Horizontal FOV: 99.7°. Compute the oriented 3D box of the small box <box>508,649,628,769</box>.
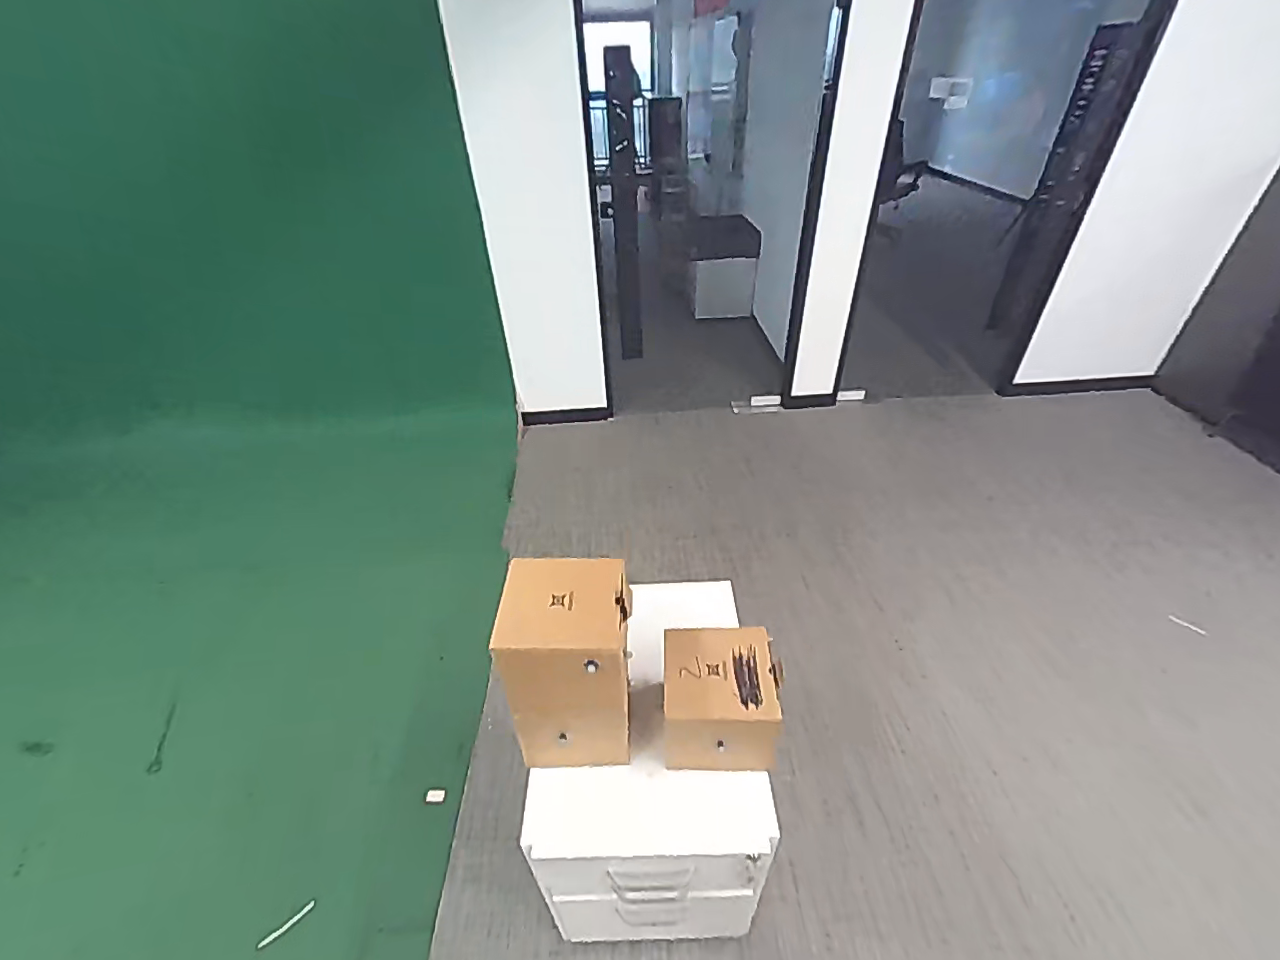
[{"bbox_3d":[-0.111,0.372,0.919,0.179,0.176,0.168,-1,37,-1],"label":"small box"}]

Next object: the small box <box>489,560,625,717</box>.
[{"bbox_3d":[-0.113,0.240,0.822,0.179,0.176,0.168,1,37,0],"label":"small box"}]
